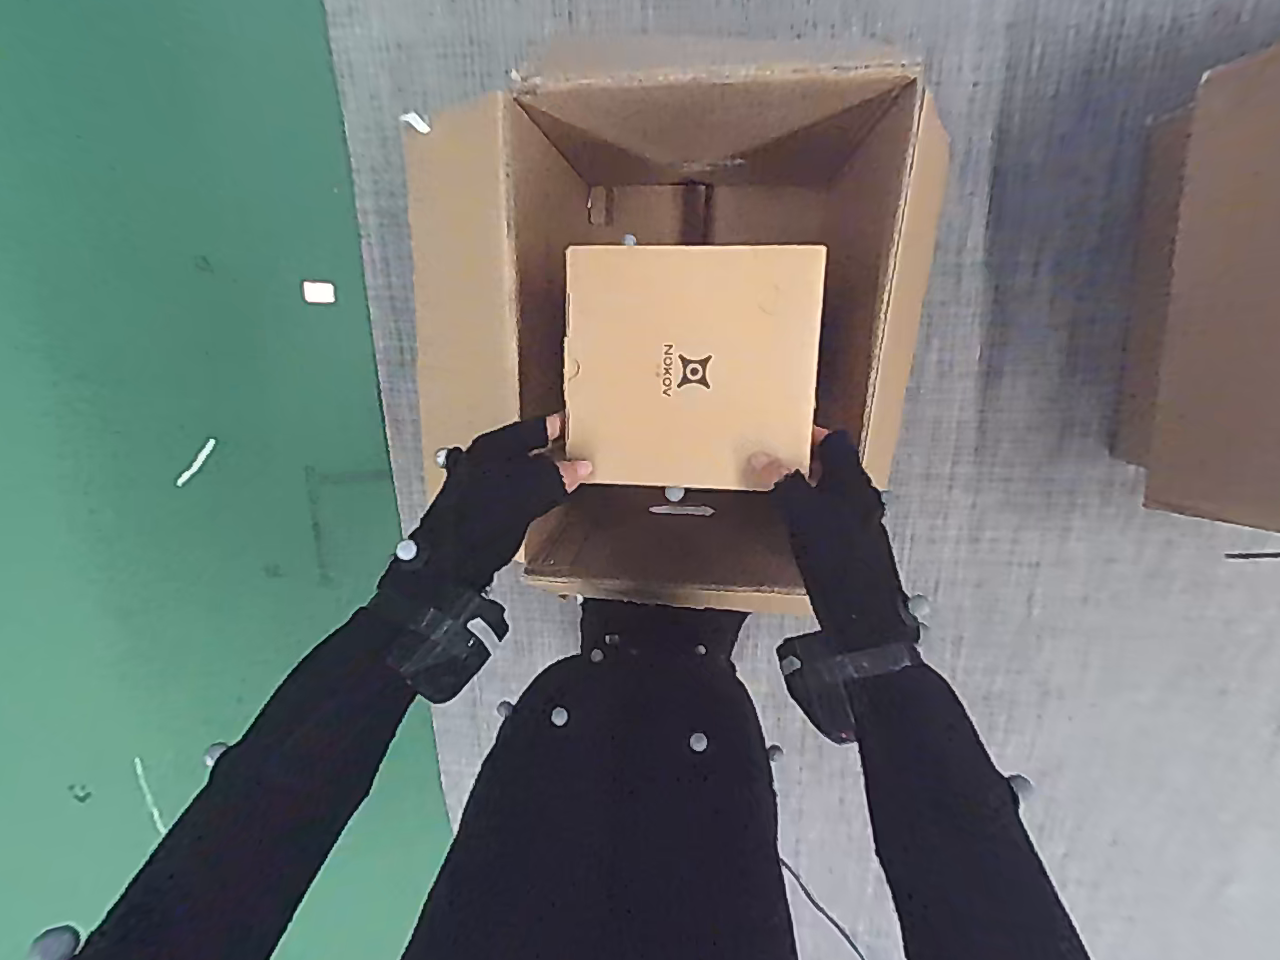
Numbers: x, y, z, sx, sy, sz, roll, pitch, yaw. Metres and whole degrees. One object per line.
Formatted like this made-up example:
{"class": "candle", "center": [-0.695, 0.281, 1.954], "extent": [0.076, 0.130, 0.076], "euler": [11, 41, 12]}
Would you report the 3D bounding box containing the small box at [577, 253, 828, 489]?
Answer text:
{"class": "small box", "center": [0.049, -0.091, 0.469], "extent": [0.179, 0.176, 0.168], "euler": [3, 100, 7]}
